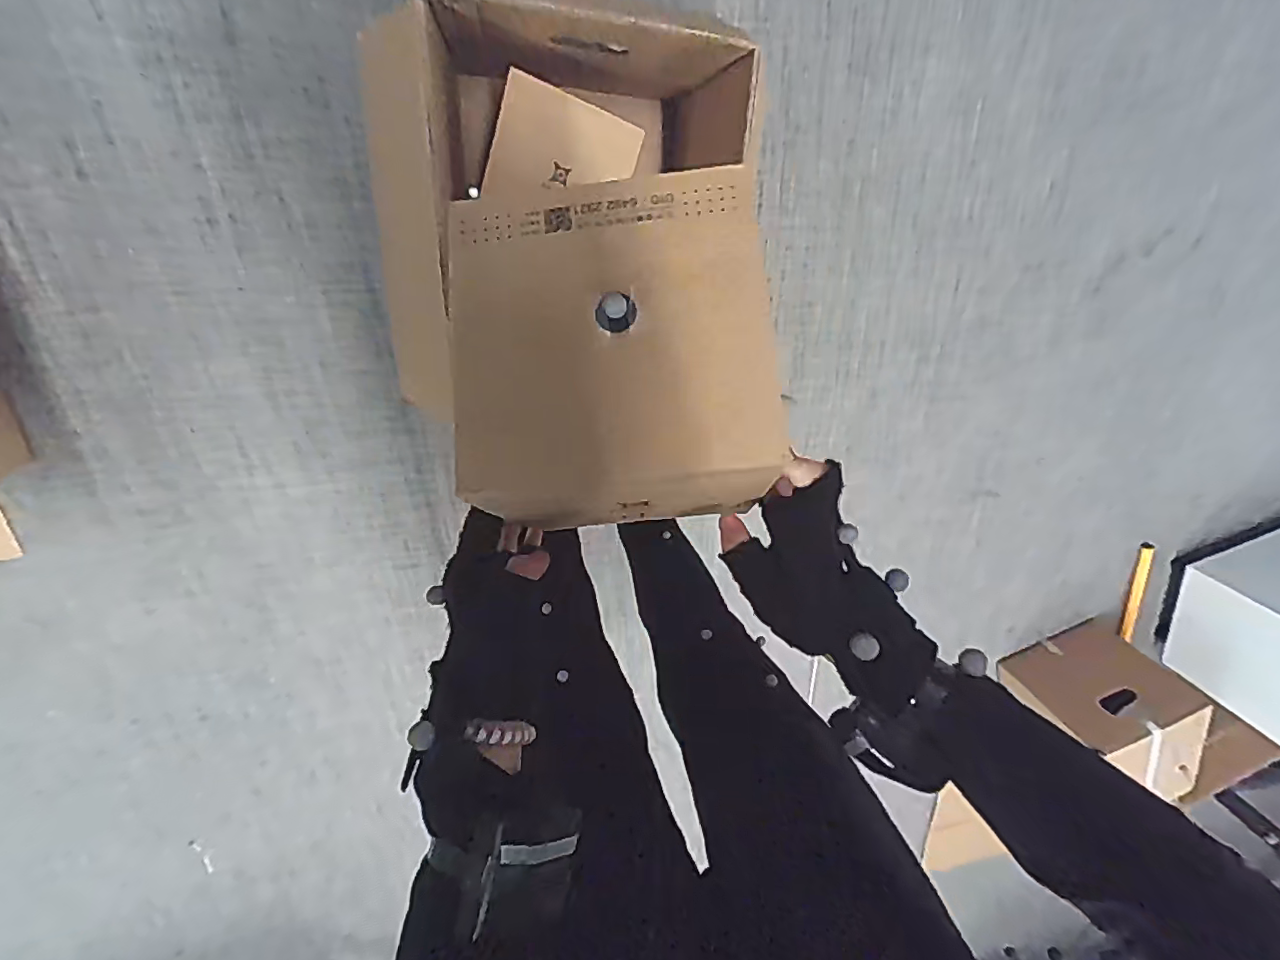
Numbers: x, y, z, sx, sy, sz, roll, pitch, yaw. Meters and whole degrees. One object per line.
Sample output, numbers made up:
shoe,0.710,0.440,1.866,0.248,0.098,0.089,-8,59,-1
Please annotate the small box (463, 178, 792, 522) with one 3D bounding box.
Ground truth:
small box,-0.009,-0.074,0.362,0.168,0.179,0.176,-6,78,3
